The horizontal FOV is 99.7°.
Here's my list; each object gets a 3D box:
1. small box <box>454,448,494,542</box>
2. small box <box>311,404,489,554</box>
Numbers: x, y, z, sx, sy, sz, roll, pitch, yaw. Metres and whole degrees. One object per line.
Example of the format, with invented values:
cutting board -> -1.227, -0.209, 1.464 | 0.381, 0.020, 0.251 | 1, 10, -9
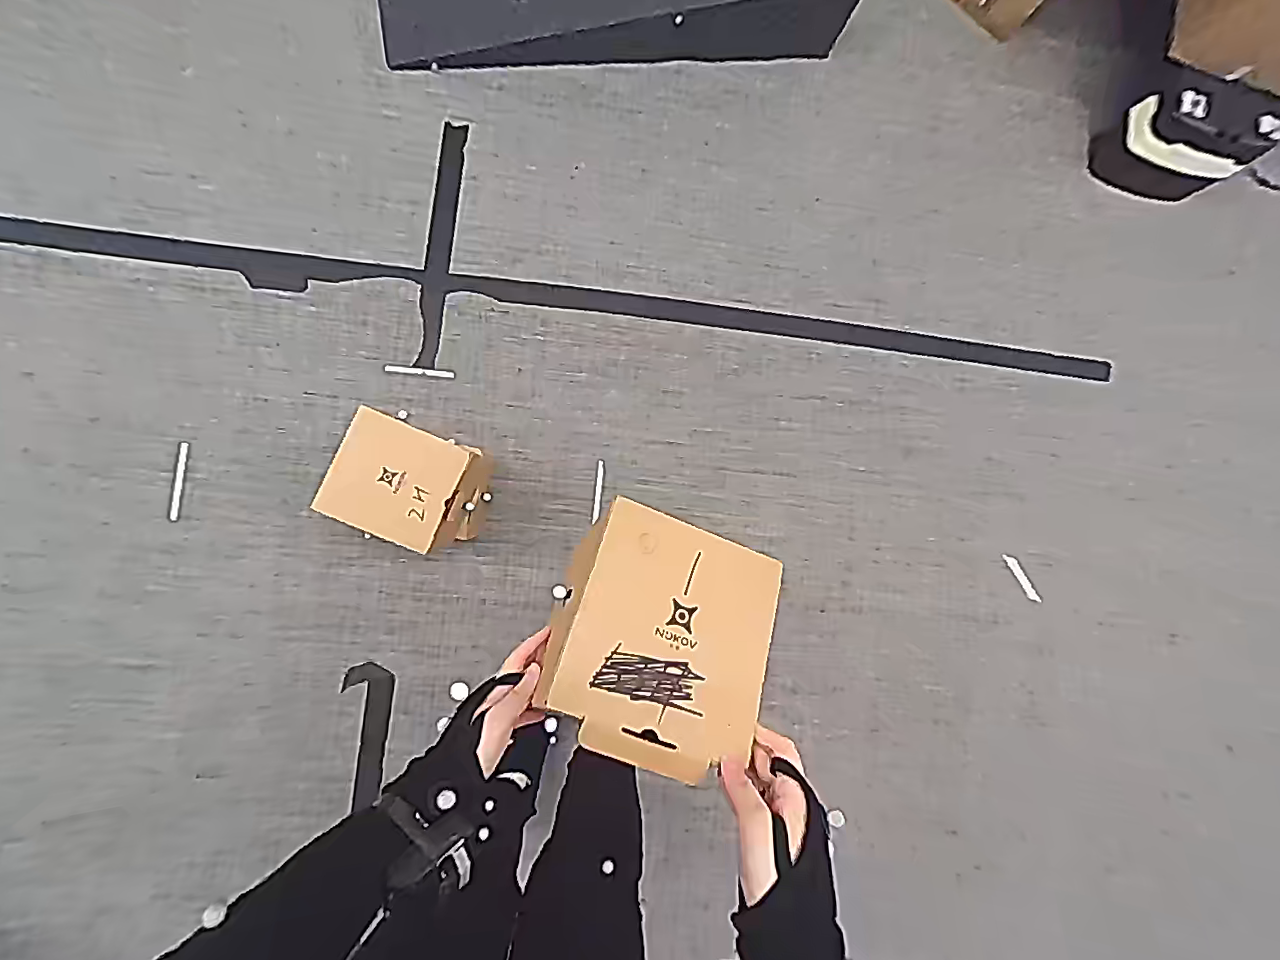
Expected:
small box -> -0.381, 0.014, 1.011 | 0.179, 0.176, 0.168 | 12, 86, -8
small box -> -0.359, 0.003, 0.847 | 0.179, 0.176, 0.168 | 25, 85, -6
